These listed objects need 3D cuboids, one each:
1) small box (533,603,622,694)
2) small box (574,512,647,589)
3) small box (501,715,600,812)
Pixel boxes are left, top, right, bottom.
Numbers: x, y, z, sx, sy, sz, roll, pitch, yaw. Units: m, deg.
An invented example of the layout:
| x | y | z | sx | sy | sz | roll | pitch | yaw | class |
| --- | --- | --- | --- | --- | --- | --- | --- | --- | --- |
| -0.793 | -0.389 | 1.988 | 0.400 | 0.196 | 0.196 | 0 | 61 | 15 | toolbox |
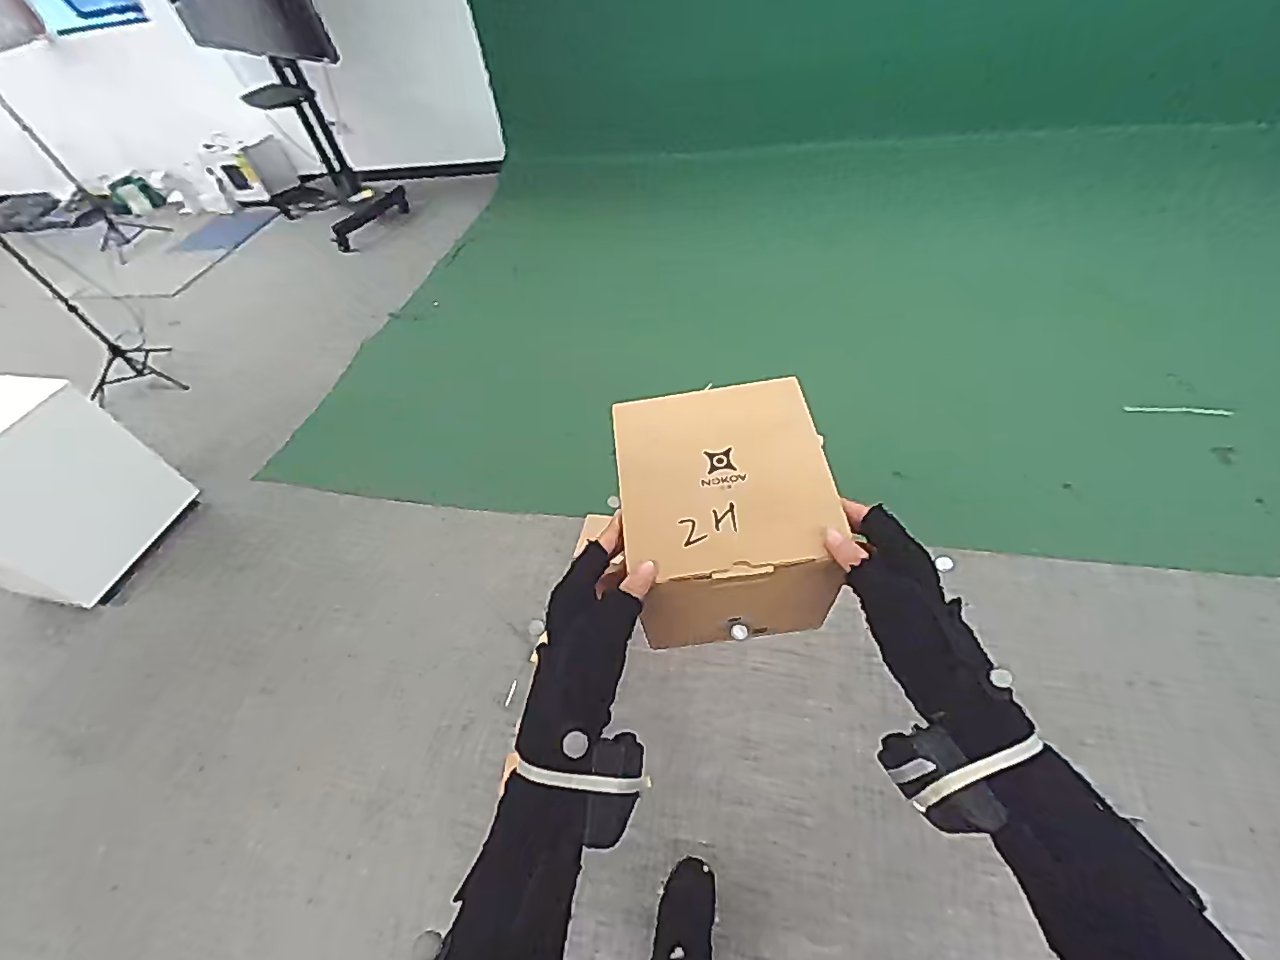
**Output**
| x | y | z | sx | sy | sz | roll | pitch | yaw | class |
| --- | --- | --- | --- | --- | --- | --- | --- | --- | --- |
| -0.163 | 0.461 | 1.470 | 0.179 | 0.176 | 0.168 | 9 | 52 | 16 | small box |
| -0.084 | 0.219 | 1.663 | 0.179 | 0.176 | 0.168 | 5 | 51 | 14 | small box |
| -0.205 | 0.679 | 1.290 | 0.179 | 0.176 | 0.168 | 3 | 52 | 9 | small box |
